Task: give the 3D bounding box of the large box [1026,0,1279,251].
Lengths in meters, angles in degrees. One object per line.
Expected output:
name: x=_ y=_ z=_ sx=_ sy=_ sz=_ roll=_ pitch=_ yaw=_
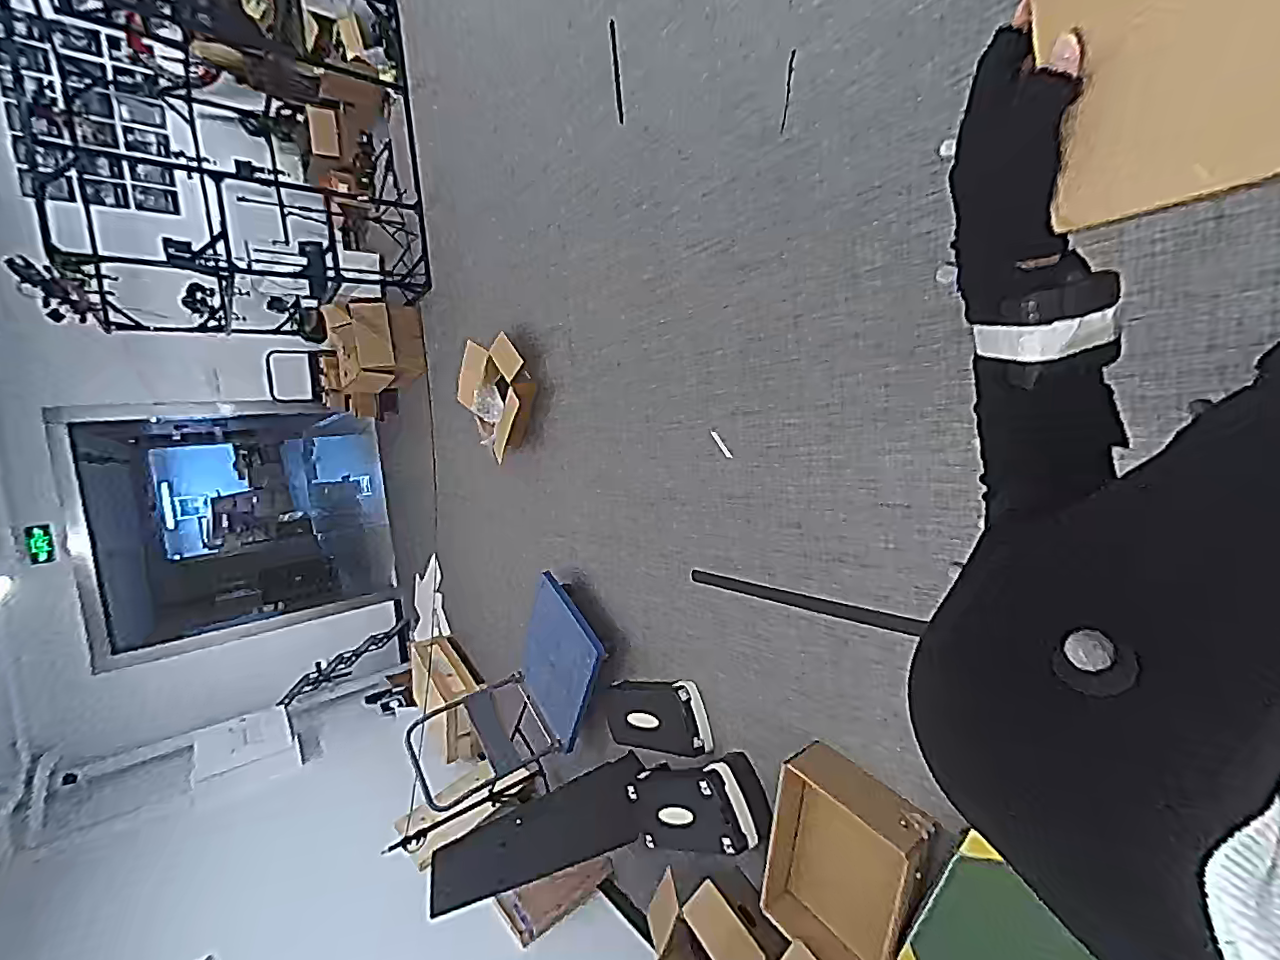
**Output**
large box: x=0.452 y=-0.335 z=0.235 sx=0.408 sy=0.320 sz=0.320 roll=1 pitch=109 yaw=53
